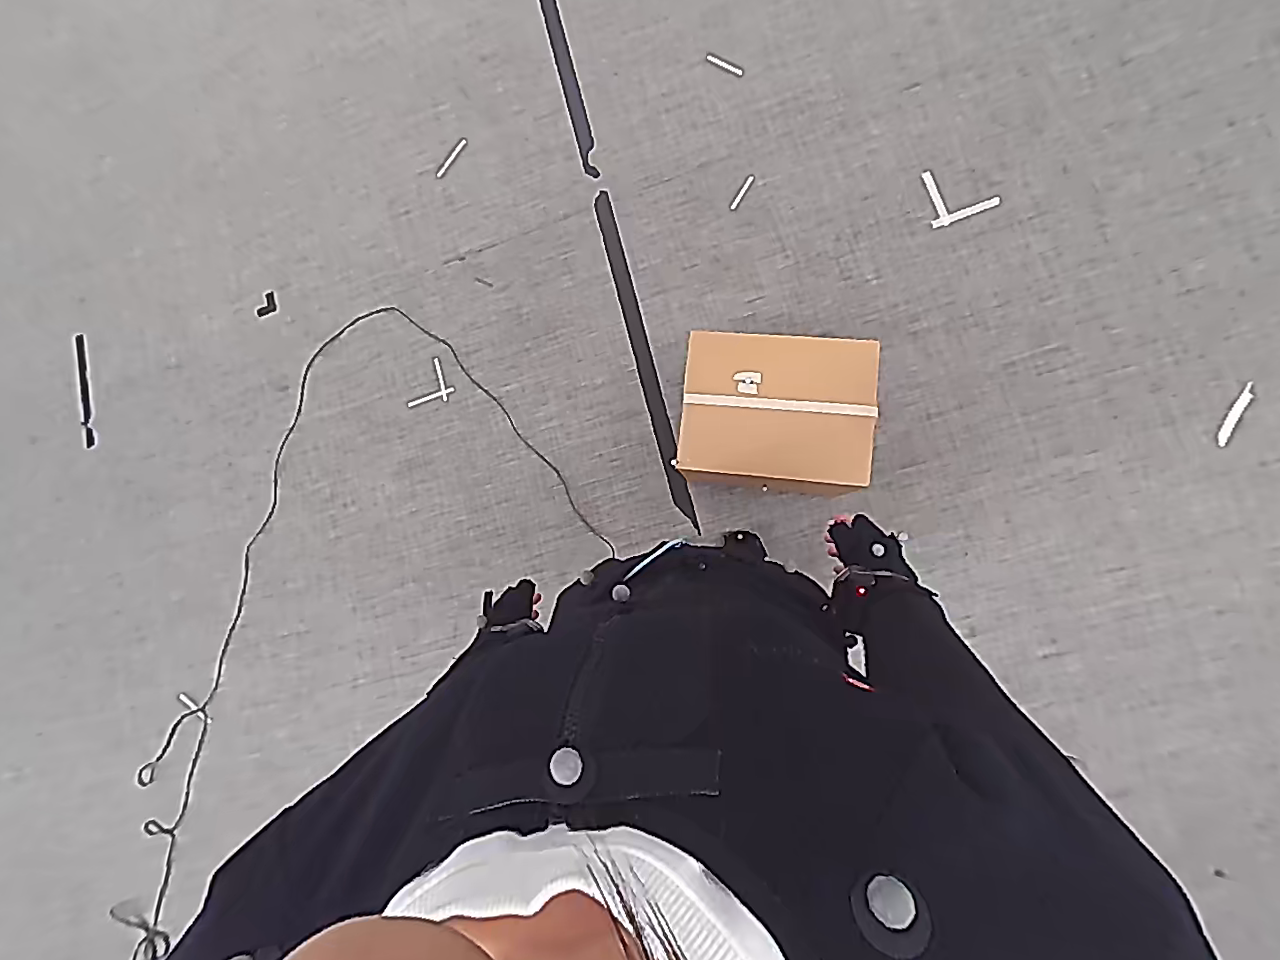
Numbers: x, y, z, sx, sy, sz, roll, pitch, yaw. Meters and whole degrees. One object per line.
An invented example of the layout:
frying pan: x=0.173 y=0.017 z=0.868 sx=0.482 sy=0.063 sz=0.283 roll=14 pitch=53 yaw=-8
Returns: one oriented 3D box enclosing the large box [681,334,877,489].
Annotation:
large box: x=0.326 y=-0.151 z=1.318 sx=0.408 sy=0.320 sz=0.320 roll=5 pitch=85 yaw=11
